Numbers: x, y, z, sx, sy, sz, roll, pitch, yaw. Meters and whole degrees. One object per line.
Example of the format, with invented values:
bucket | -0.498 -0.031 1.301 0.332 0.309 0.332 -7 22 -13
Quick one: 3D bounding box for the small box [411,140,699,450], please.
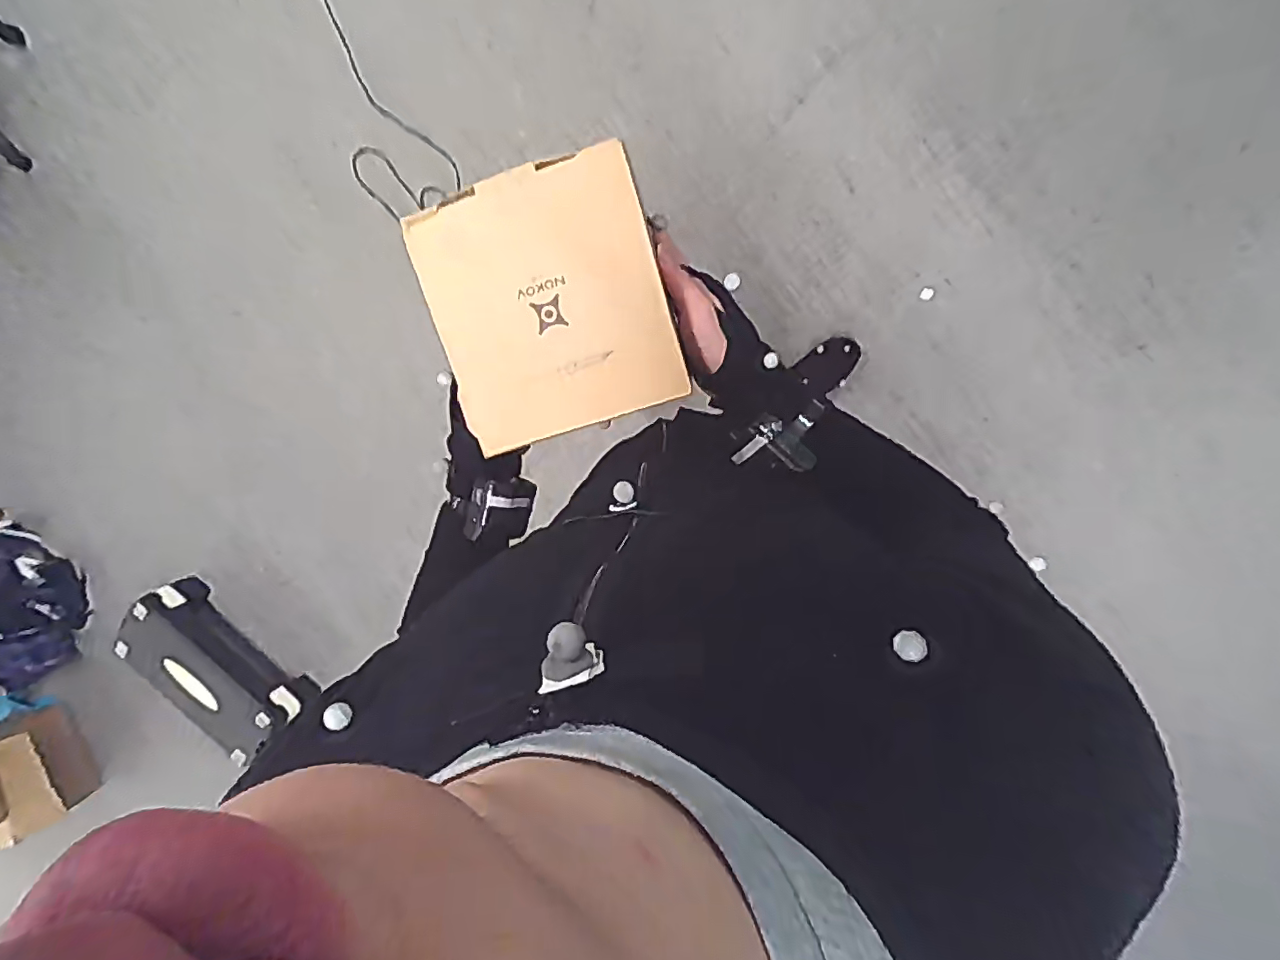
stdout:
small box | -0.053 -0.141 0.457 0.168 0.176 0.179 -15 102 9
